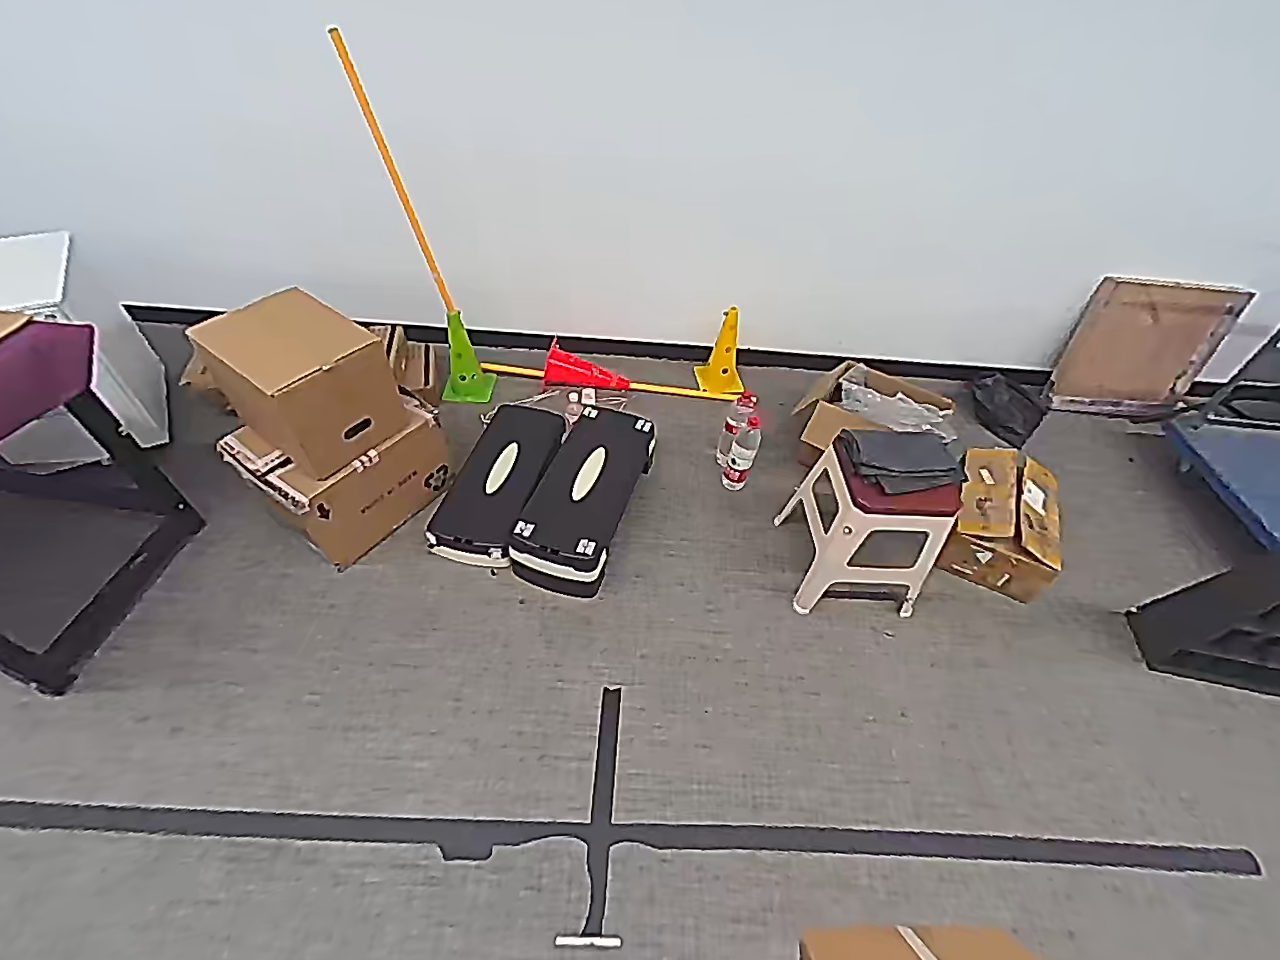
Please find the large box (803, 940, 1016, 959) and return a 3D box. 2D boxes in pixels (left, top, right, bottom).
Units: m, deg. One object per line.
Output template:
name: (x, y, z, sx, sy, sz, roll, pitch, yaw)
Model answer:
large box: (0.394, 0.799, 0.579, 0.320, 0.408, 0.320, 2, 80, -3)
